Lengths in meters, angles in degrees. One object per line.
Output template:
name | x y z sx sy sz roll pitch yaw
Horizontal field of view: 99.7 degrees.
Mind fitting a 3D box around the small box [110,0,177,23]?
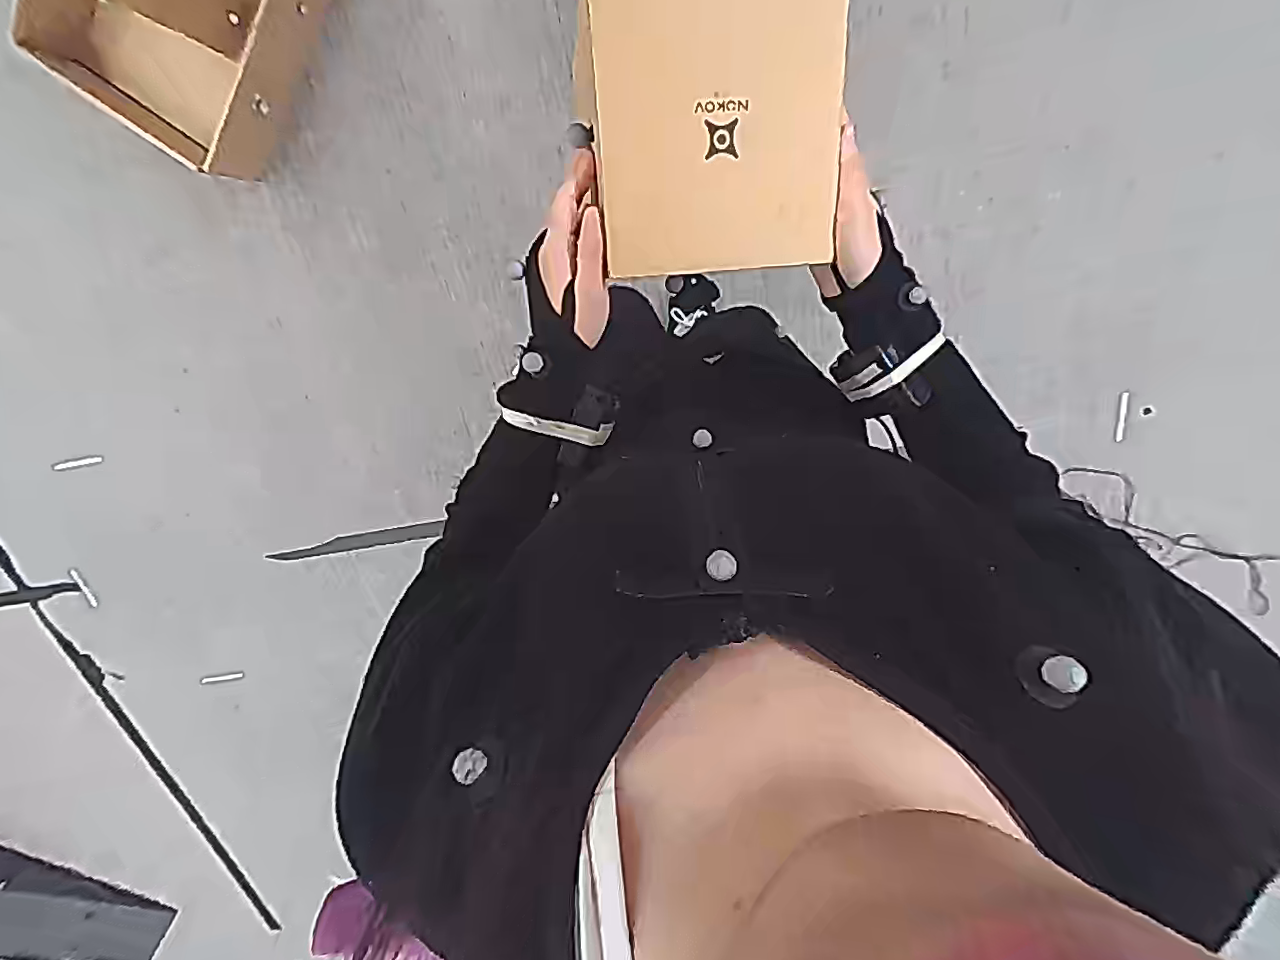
small box | -0.907 -0.918 0.901 0.179 0.176 0.168 30 108 -9

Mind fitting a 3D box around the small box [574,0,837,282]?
small box | 0.038 -0.259 0.434 0.168 0.176 0.179 -7 111 -6

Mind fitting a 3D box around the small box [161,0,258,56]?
small box | -0.899 -0.981 1.050 0.179 0.176 0.168 33 109 -12
